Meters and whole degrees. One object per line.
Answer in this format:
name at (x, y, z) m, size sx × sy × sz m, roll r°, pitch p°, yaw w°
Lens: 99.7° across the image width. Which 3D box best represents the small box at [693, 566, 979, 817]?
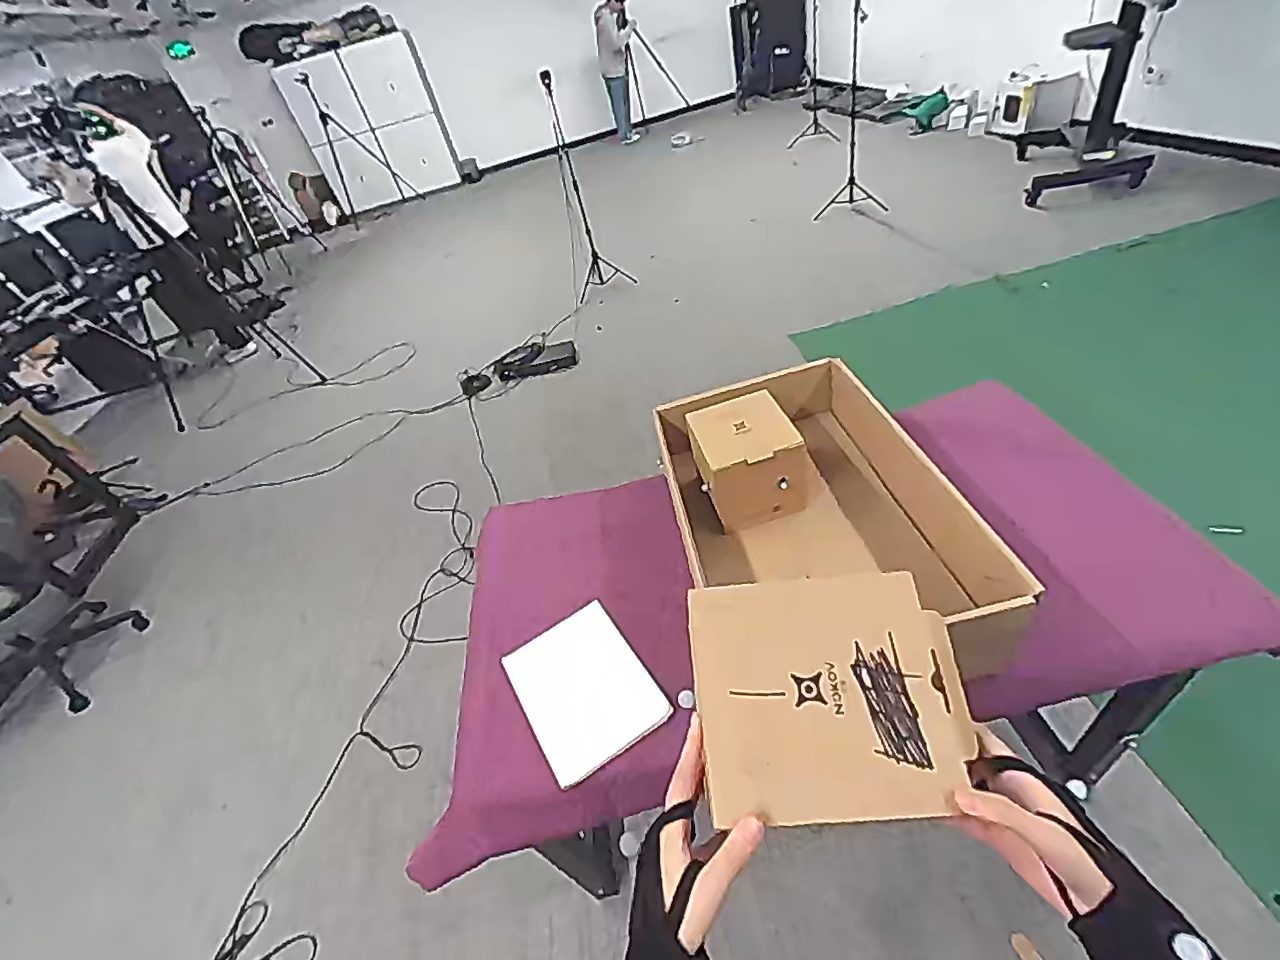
small box at (0.139, 0.179, 0.462) m, size 0.179 × 0.176 × 0.168 m, roll -5°, pitch 64°, yaw 3°
